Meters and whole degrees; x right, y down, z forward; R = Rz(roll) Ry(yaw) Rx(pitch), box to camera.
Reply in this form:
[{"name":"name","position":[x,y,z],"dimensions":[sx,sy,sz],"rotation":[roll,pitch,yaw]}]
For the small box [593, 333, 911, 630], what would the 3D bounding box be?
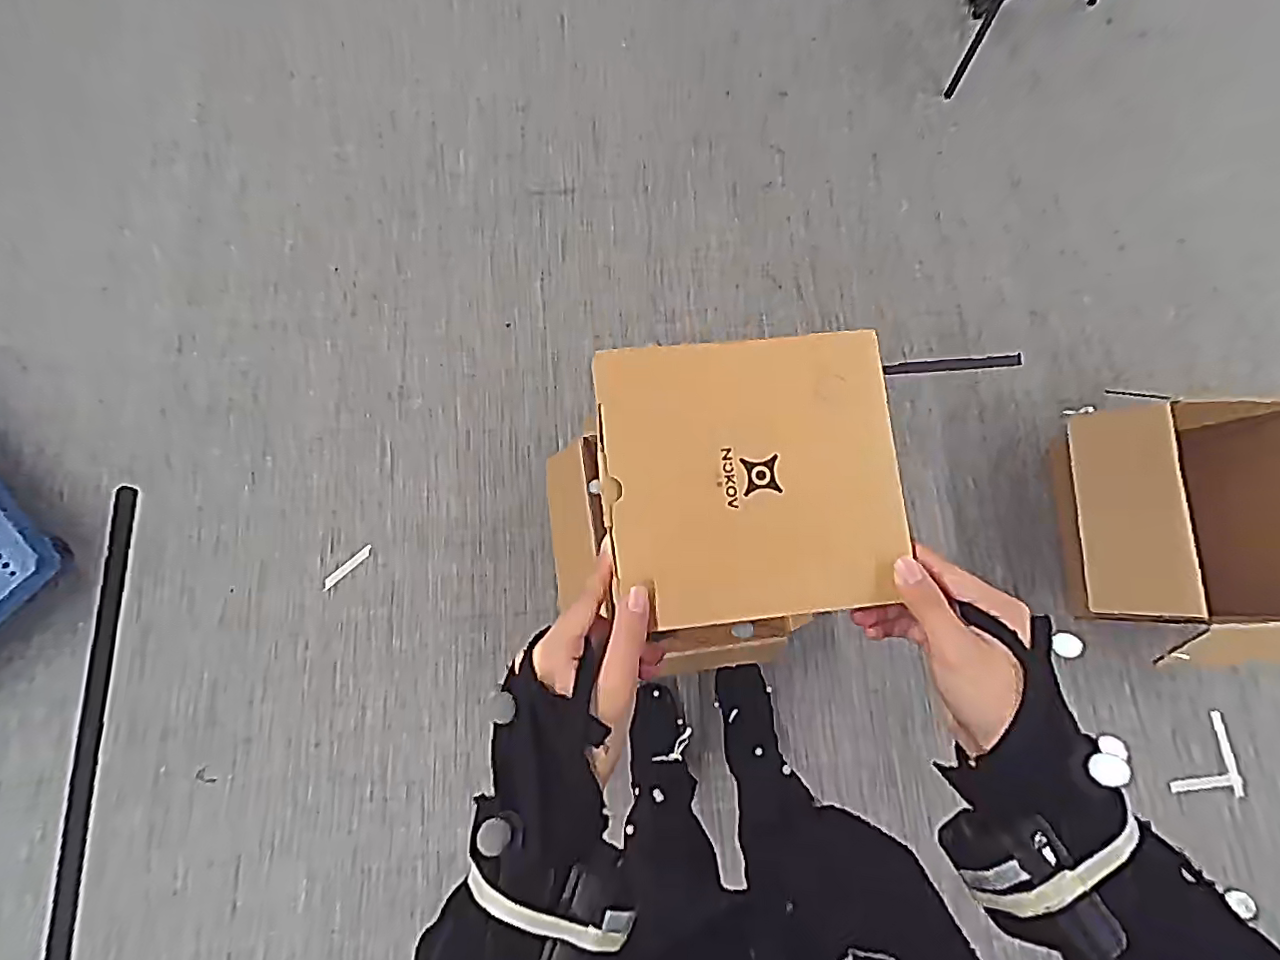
[{"name":"small box","position":[0.061,0.006,0.397],"dimensions":[0.179,0.176,0.168],"rotation":[-6,83,-3]}]
